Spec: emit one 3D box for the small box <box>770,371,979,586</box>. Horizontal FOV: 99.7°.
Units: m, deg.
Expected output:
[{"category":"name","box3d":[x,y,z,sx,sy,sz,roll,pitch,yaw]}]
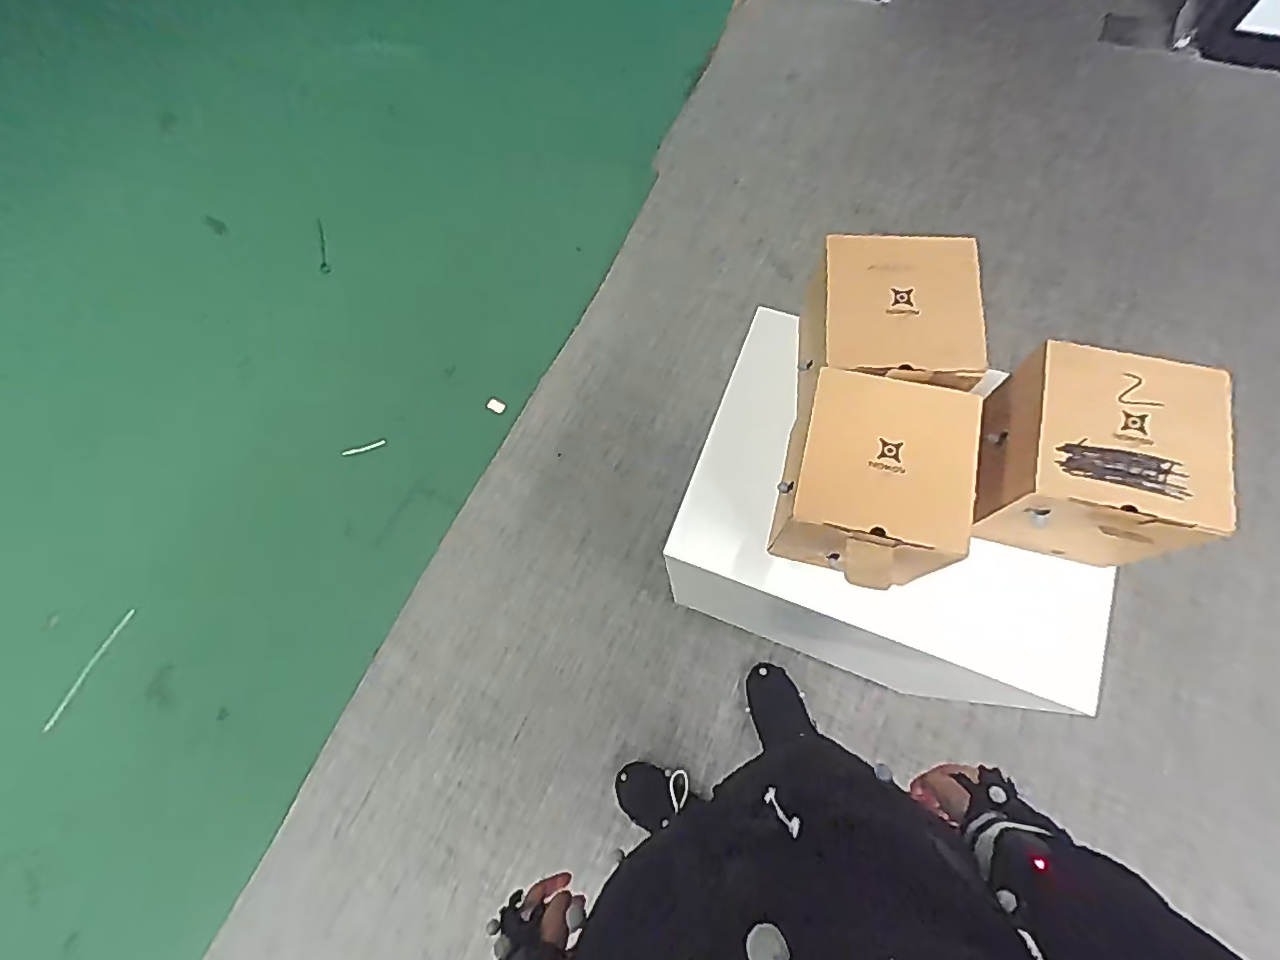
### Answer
[{"category":"small box","box3d":[0.251,0.006,0.609,0.168,0.176,0.179,12,72,9]}]
